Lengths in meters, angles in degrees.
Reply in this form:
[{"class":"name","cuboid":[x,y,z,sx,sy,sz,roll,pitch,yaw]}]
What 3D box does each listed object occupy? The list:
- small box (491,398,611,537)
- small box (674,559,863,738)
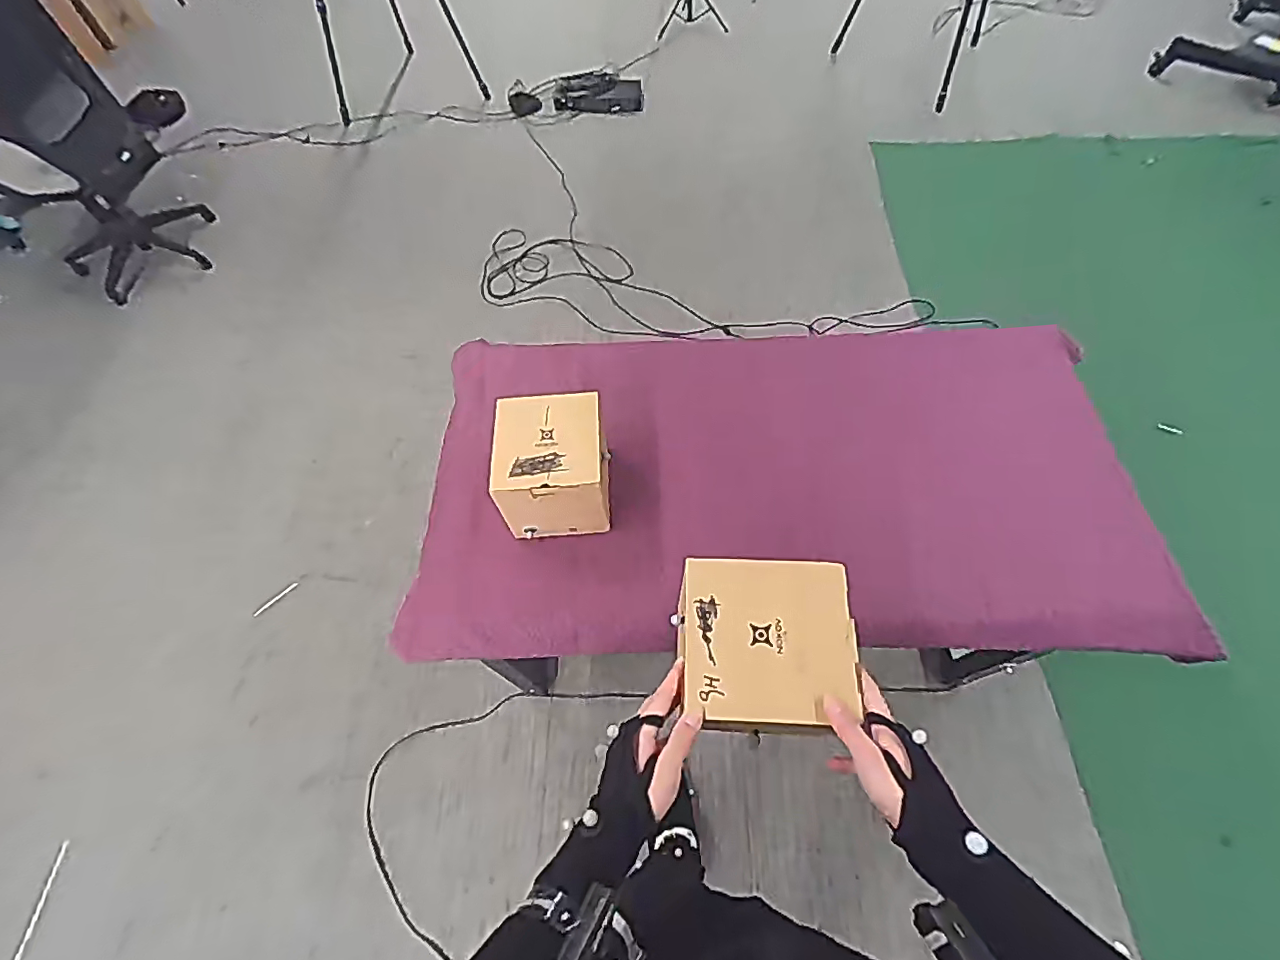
[{"class":"small box","cuboid":[-0.137,-0.013,0.897,0.168,0.176,0.179,-4,58,0]},{"class":"small box","cuboid":[0.134,0.201,0.627,0.179,0.176,0.168,3,62,3]}]
